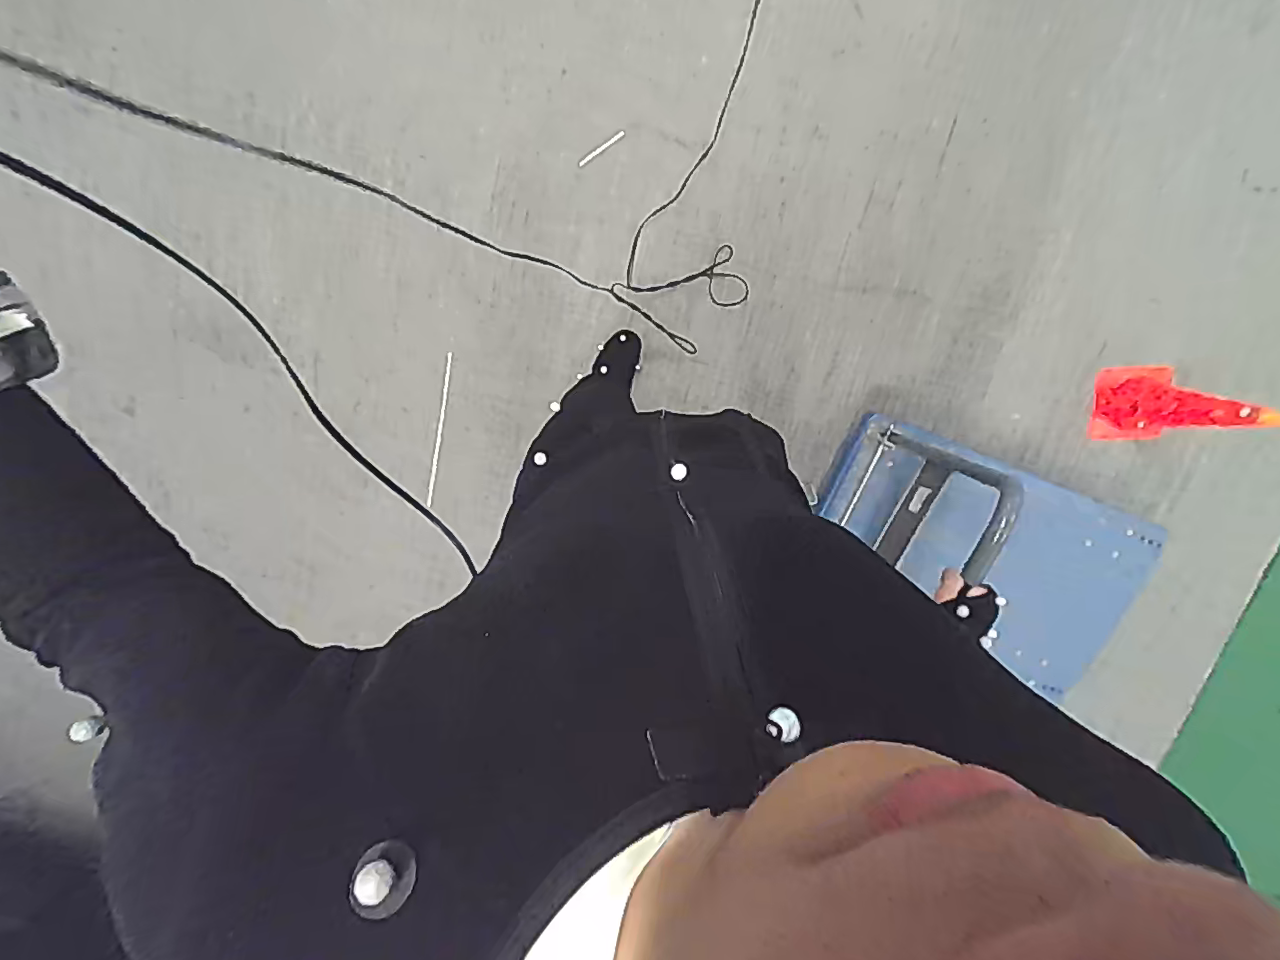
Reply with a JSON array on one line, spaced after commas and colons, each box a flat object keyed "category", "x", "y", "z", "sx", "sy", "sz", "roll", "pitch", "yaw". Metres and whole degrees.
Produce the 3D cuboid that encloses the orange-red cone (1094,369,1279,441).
[{"category": "orange-red cone", "x": 1.372, "y": -0.174, "z": 1.340, "sx": 0.198, "sy": 0.360, "sz": 0.199, "roll": 0, "pitch": 101, "yaw": 2}]
